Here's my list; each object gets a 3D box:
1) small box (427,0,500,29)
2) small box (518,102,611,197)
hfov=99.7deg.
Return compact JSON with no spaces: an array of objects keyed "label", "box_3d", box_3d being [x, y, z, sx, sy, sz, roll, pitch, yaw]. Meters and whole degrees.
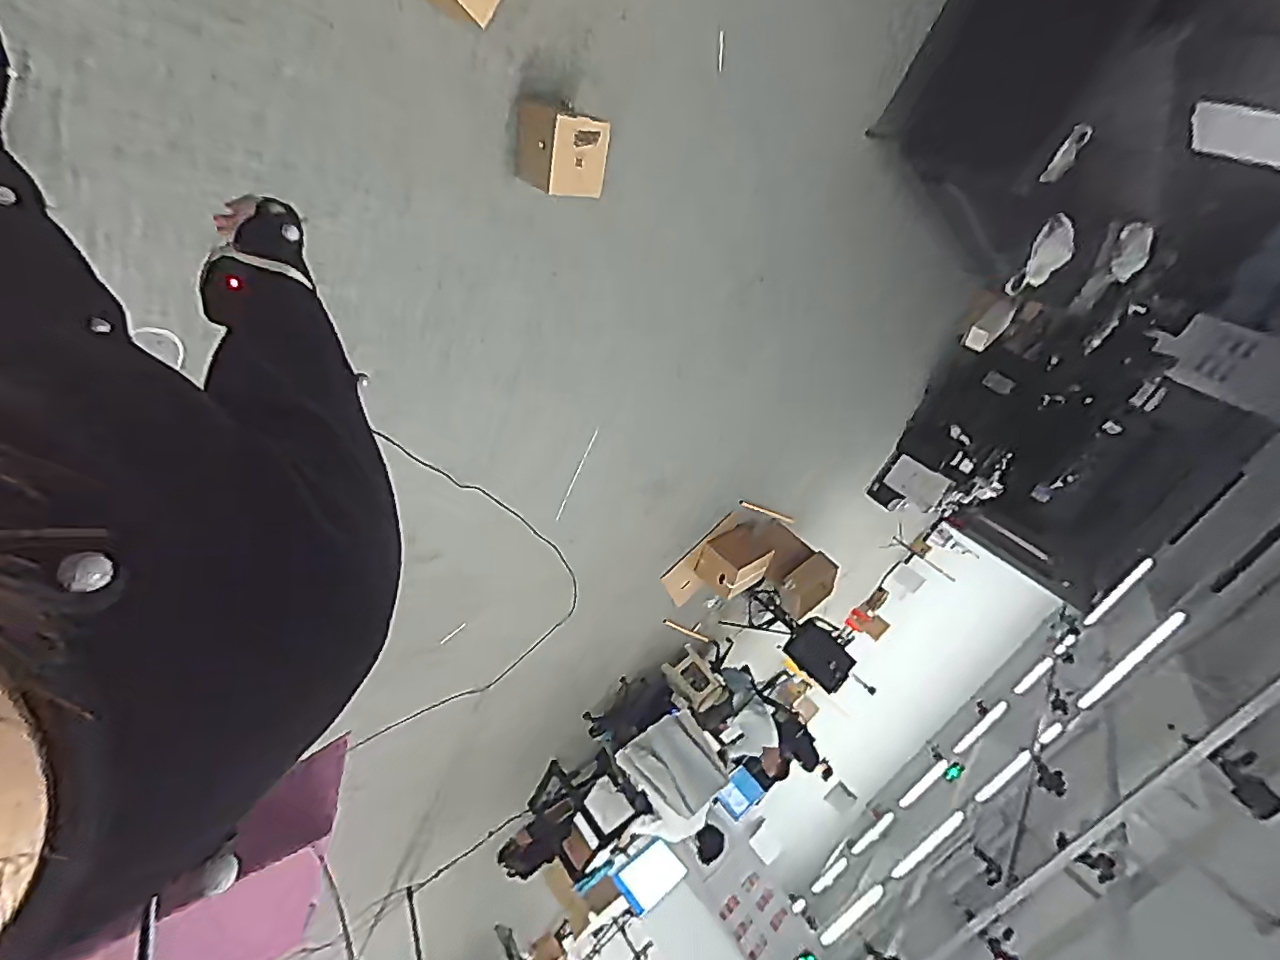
[{"label":"small box","box_3d":[-0.354,-1.019,1.027,0.179,0.176,0.168,-55,148,11]},{"label":"small box","box_3d":[-0.200,-0.853,1.396,0.168,0.176,0.179,-20,139,-37]}]
